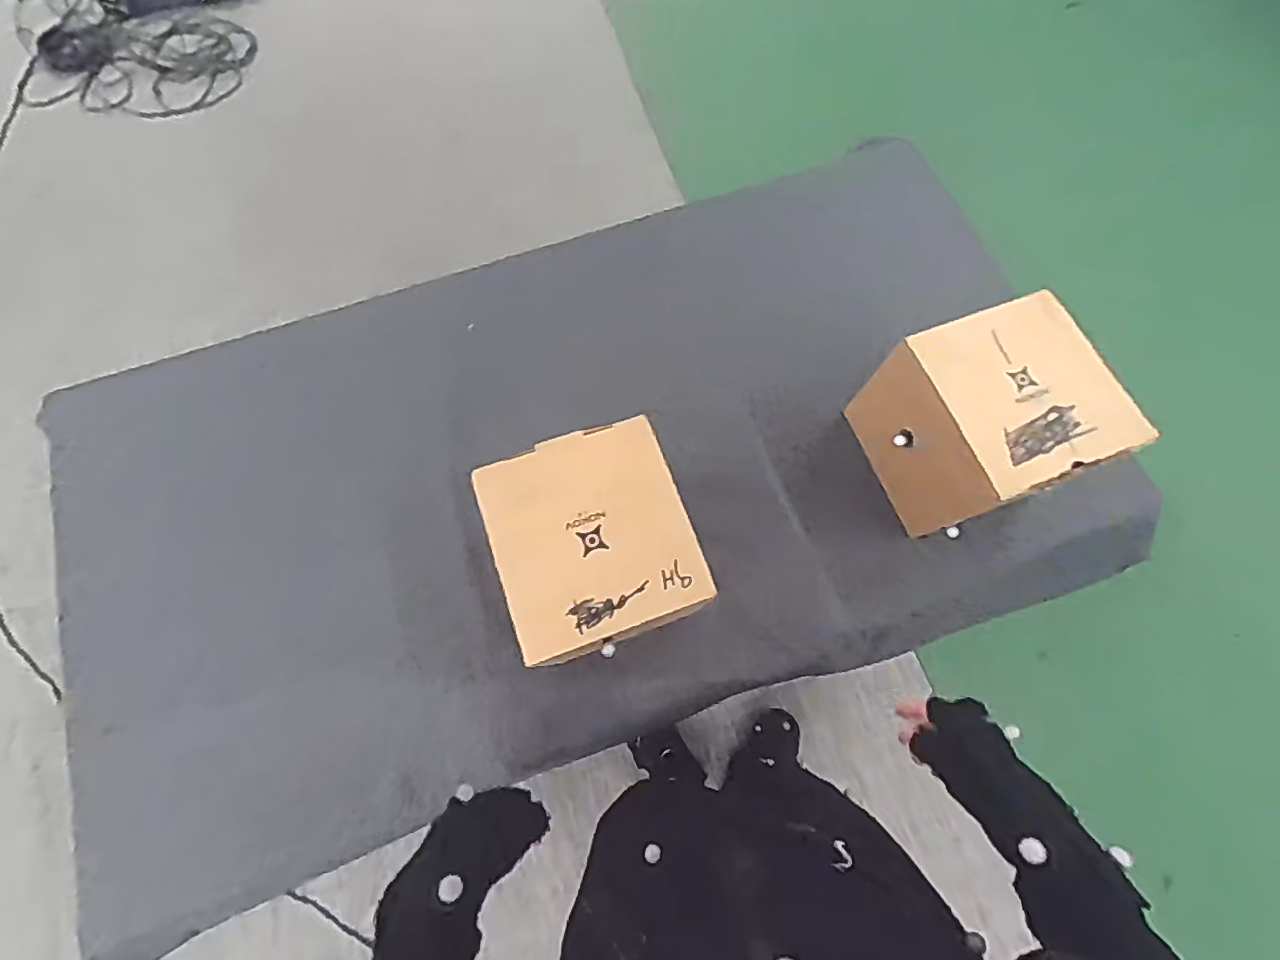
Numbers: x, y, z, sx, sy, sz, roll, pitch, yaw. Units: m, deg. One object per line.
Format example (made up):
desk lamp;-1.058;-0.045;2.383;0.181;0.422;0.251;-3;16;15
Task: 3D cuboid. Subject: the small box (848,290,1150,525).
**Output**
small box;0.357;-0.062;0.579;0.168;0.176;0.179;-19;72;-6

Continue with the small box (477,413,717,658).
small box;-0.042;0.065;0.533;0.168;0.176;0.179;-19;73;-7
